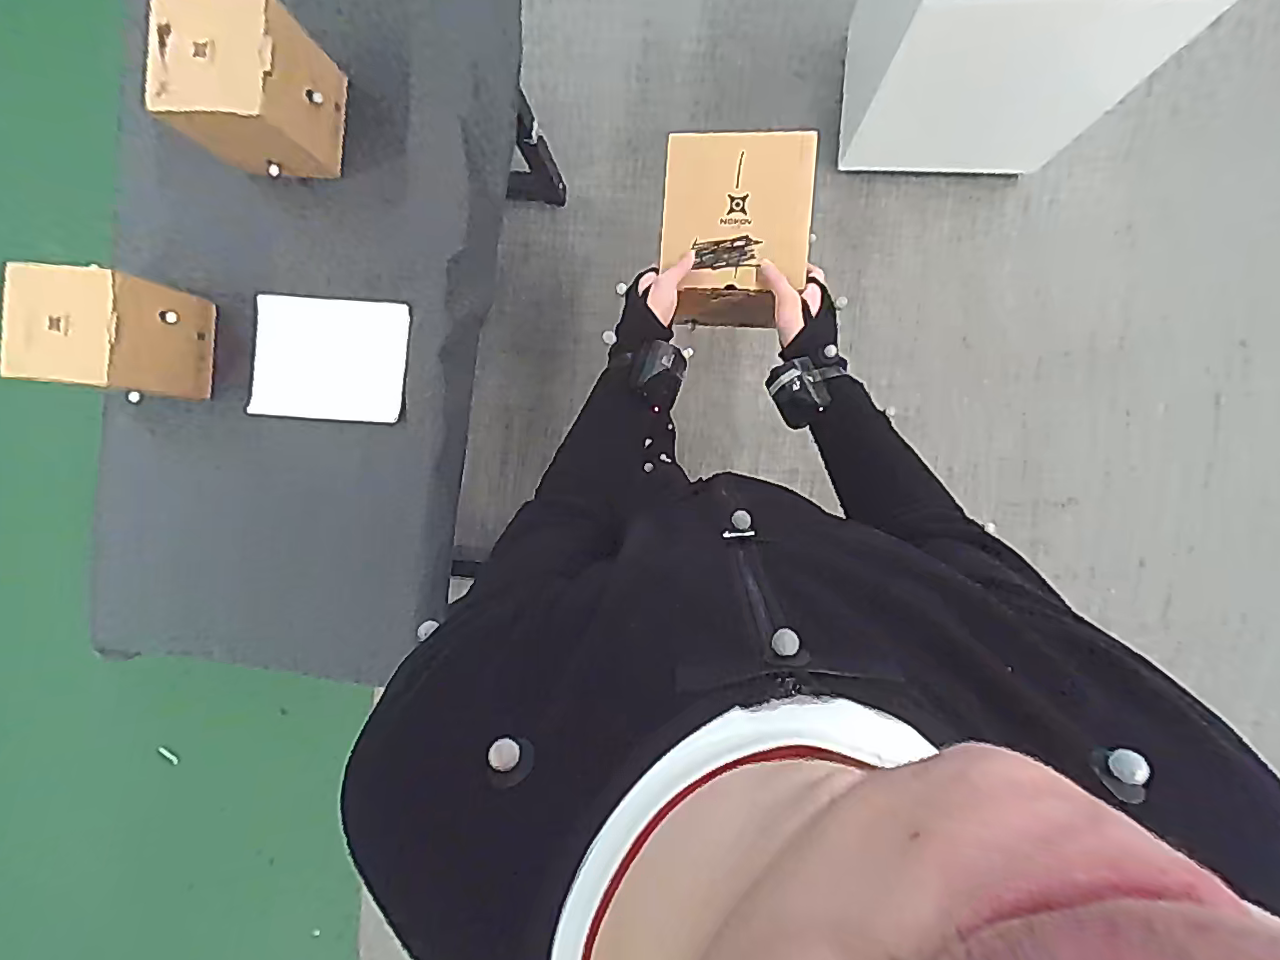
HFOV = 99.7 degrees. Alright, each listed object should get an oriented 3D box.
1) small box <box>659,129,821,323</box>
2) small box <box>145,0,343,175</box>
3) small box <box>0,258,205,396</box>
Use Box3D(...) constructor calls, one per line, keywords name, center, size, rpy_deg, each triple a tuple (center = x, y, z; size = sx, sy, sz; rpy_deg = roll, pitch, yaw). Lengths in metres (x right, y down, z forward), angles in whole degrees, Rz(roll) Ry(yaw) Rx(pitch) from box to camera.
Box3D(name="small box", center=(0.121, -0.305, 0.682), size=(0.168, 0.176, 0.179), rpy_deg=(5, 92, 7))
Box3D(name="small box", center=(-0.579, -0.584, 0.811), size=(0.179, 0.176, 0.168), rpy_deg=(6, 92, 4))
Box3D(name="small box", center=(-0.820, -0.225, 0.832), size=(0.179, 0.176, 0.168), rpy_deg=(5, 91, 6))
